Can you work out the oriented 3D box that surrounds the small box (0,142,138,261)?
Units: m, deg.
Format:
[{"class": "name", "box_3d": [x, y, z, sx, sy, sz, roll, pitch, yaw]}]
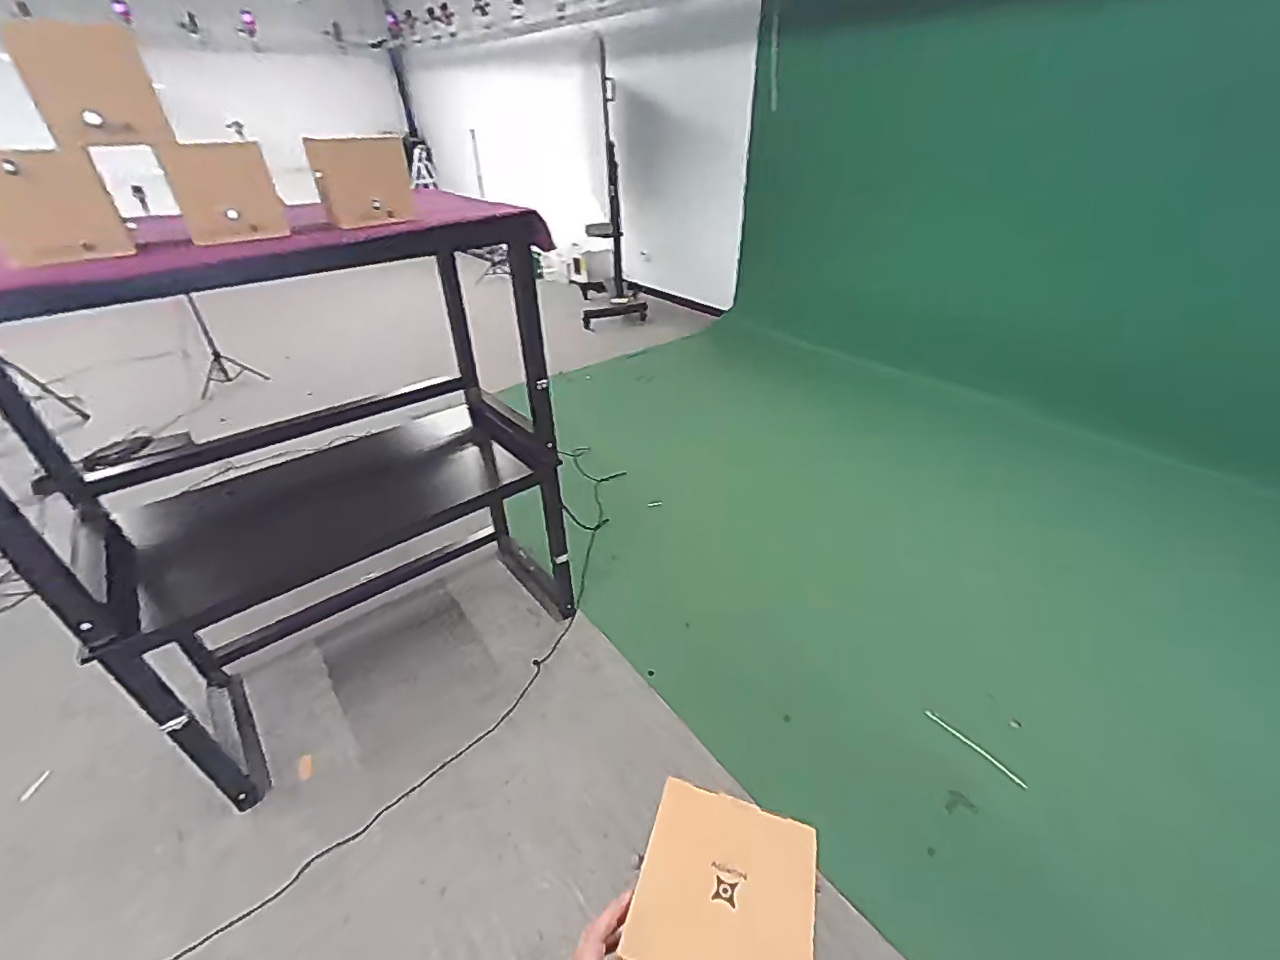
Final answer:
[{"class": "small box", "box_3d": [-1.021, -0.487, 0.942, 0.168, 0.176, 0.179, -25, 40, -31]}]

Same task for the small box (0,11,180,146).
[{"class": "small box", "box_3d": [-0.925, -0.672, 0.924, 0.168, 0.176, 0.179, -24, 40, -29]}]

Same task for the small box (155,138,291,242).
[{"class": "small box", "box_3d": [-0.826, -0.578, 1.075, 0.168, 0.176, 0.179, -25, 41, -31]}]

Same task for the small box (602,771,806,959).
[{"class": "small box", "box_3d": [0.065, 0.449, 0.550, 0.168, 0.176, 0.179, 13, 28, 12]}]
